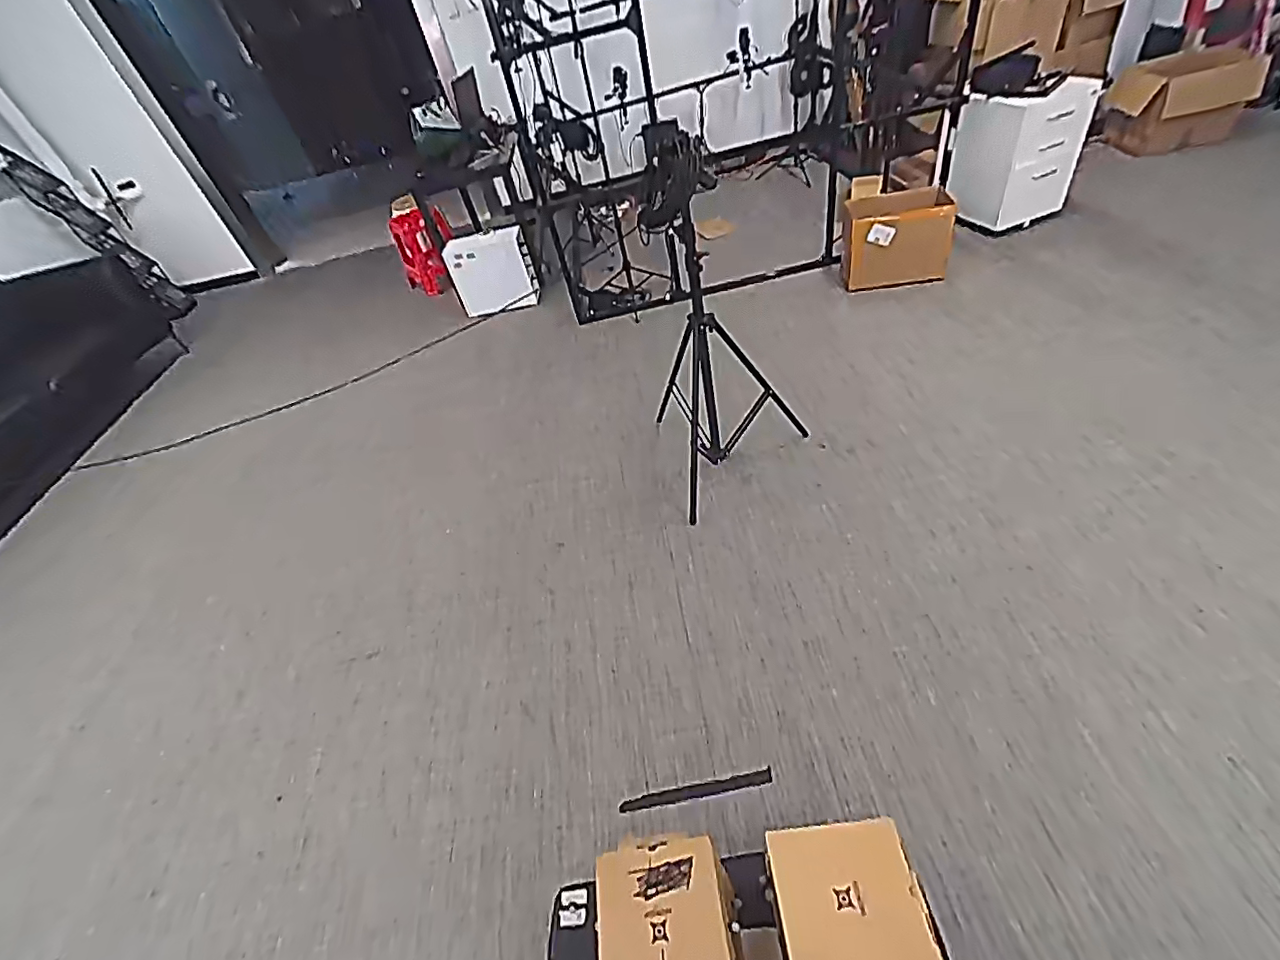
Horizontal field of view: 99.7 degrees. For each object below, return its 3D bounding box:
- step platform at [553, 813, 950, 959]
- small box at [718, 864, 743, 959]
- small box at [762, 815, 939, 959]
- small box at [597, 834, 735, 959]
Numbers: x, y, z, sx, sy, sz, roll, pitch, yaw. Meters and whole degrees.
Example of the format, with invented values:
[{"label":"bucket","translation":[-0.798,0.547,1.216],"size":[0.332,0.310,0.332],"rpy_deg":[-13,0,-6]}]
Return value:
[{"label":"step platform","translation":[0.186,0.837,0.986],"size":[0.684,0.204,0.286],"rpy_deg":[-13,42,3]},{"label":"small box","translation":[0.073,0.743,0.860],"size":[0.168,0.176,0.179],"rpy_deg":[-11,43,4]},{"label":"small box","translation":[0.272,0.580,0.734],"size":[0.179,0.176,0.168],"rpy_deg":[-10,43,5]},{"label":"small box","translation":[0.039,0.625,0.751],"size":[0.168,0.176,0.179],"rpy_deg":[-12,43,4]}]
